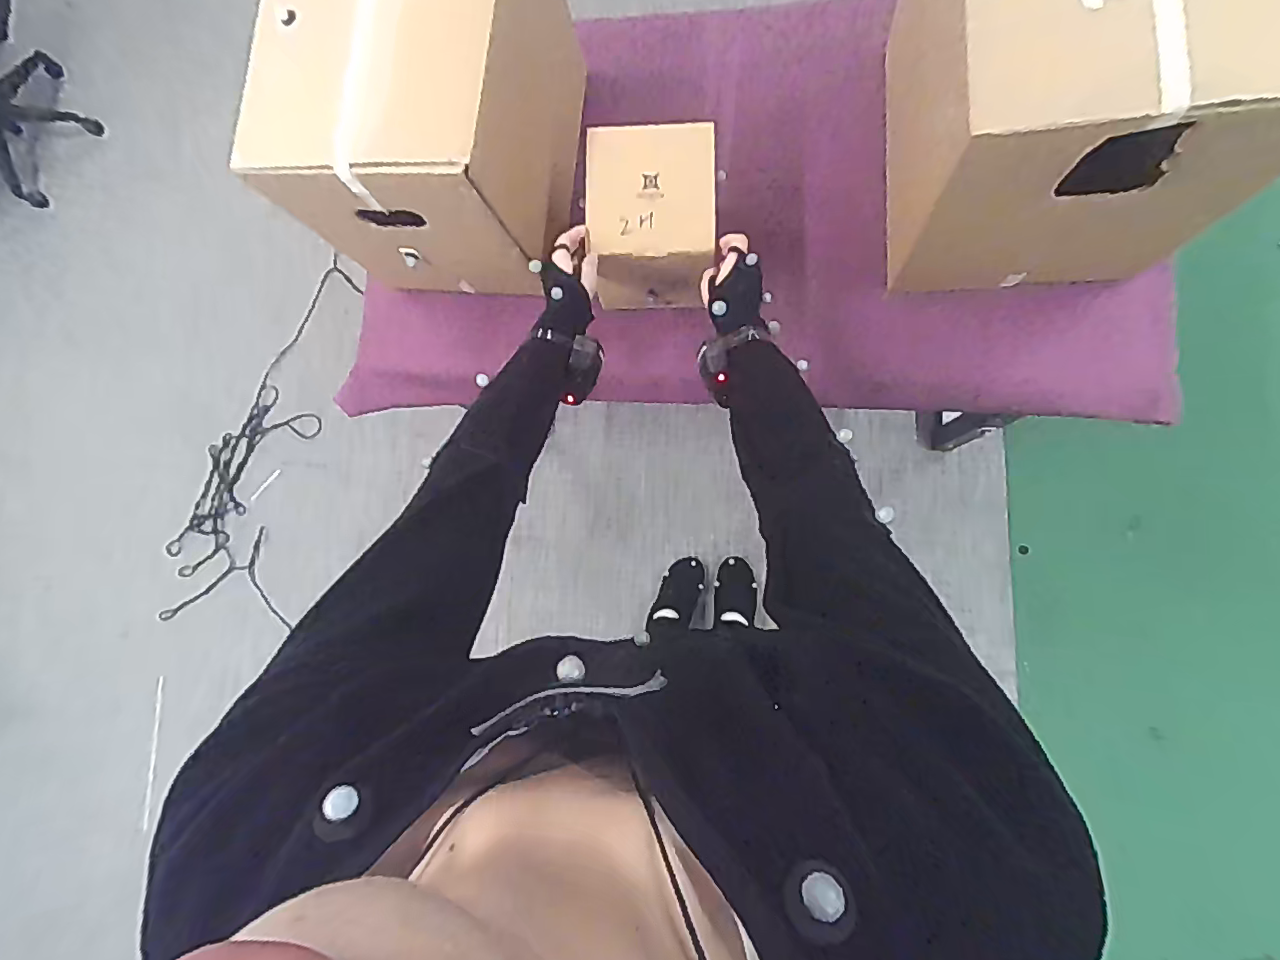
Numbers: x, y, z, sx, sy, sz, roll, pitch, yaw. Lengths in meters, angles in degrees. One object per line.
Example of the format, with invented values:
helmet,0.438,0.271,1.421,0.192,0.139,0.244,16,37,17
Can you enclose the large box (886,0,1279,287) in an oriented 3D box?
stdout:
large box,0.491,-0.489,0.630,0.320,0.320,0.408,1,84,13
